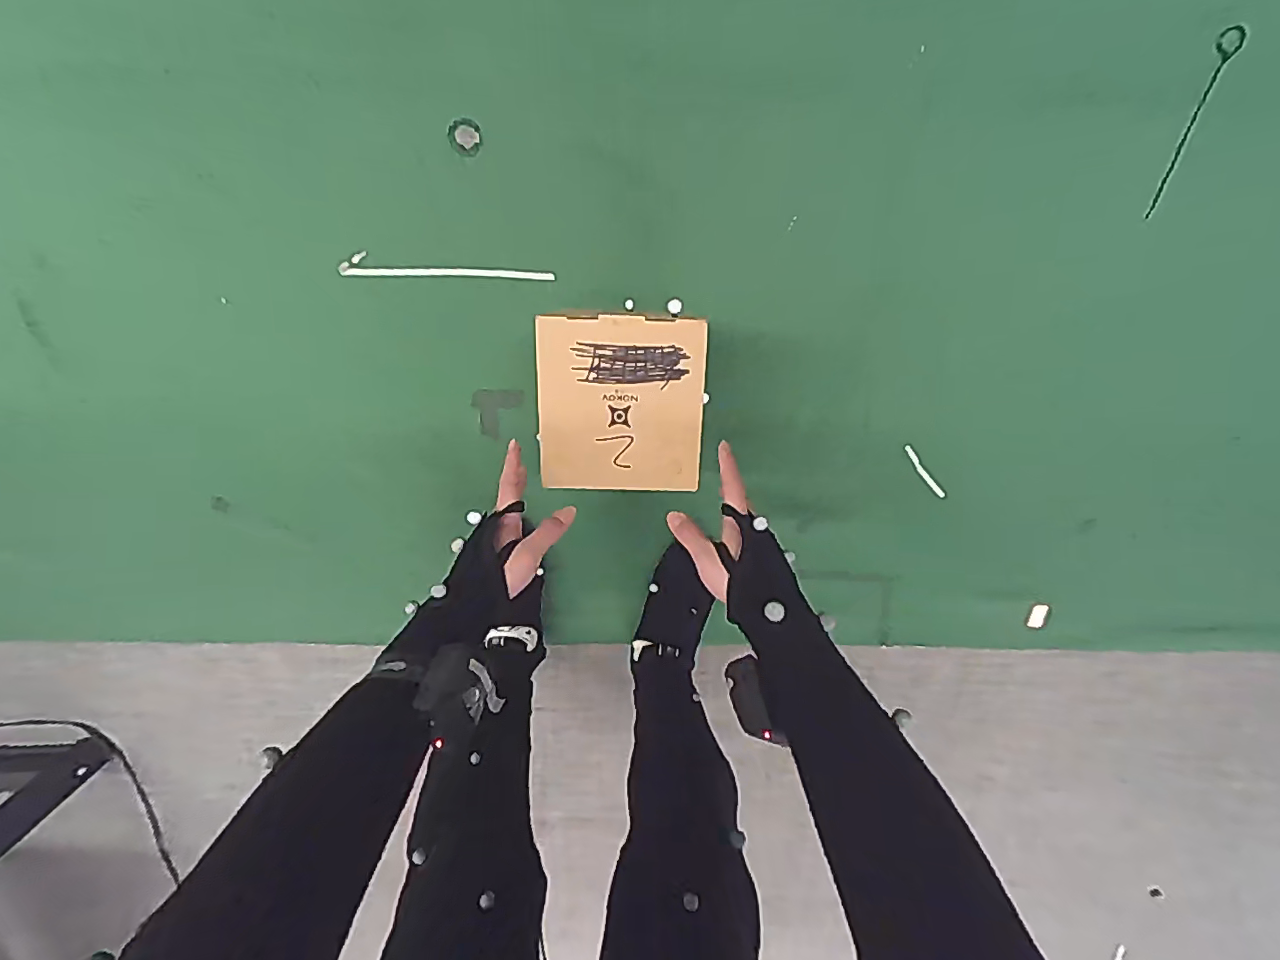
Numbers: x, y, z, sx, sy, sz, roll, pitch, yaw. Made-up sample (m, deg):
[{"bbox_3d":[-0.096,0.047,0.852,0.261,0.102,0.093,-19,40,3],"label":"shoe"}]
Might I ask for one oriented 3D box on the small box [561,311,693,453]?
[{"bbox_3d":[-0.020,-0.146,0.768,0.168,0.176,0.179,2,109,0],"label":"small box"}]
